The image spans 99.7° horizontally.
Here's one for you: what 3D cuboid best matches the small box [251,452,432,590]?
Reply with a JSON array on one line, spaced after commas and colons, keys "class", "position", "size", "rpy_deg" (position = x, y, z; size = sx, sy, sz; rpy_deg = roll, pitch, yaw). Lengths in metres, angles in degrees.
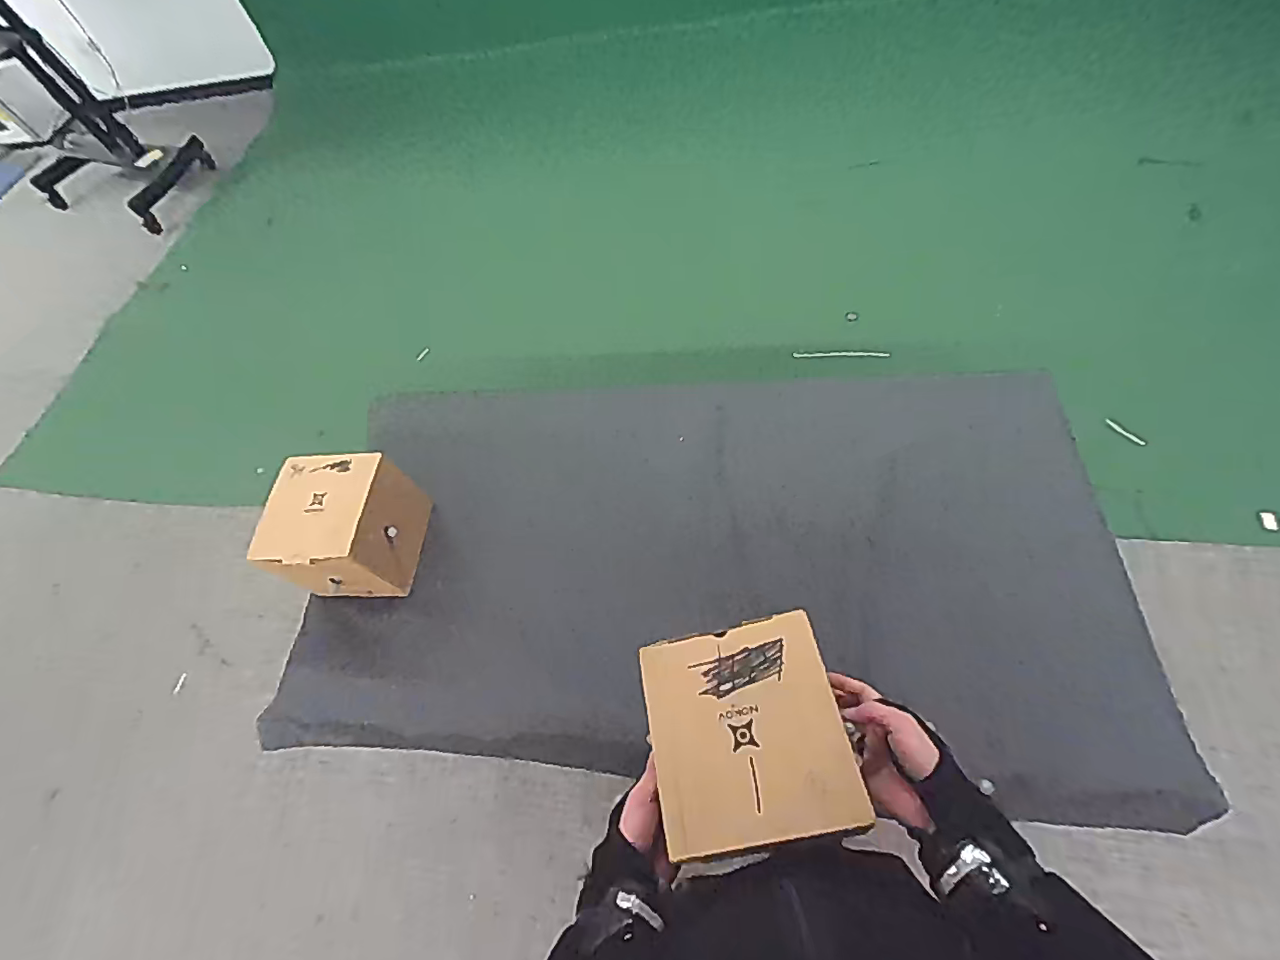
[{"class": "small box", "position": [-0.460, 0.071, 0.867], "size": [0.168, 0.176, 0.179], "rpy_deg": [-1, 62, 8]}]
